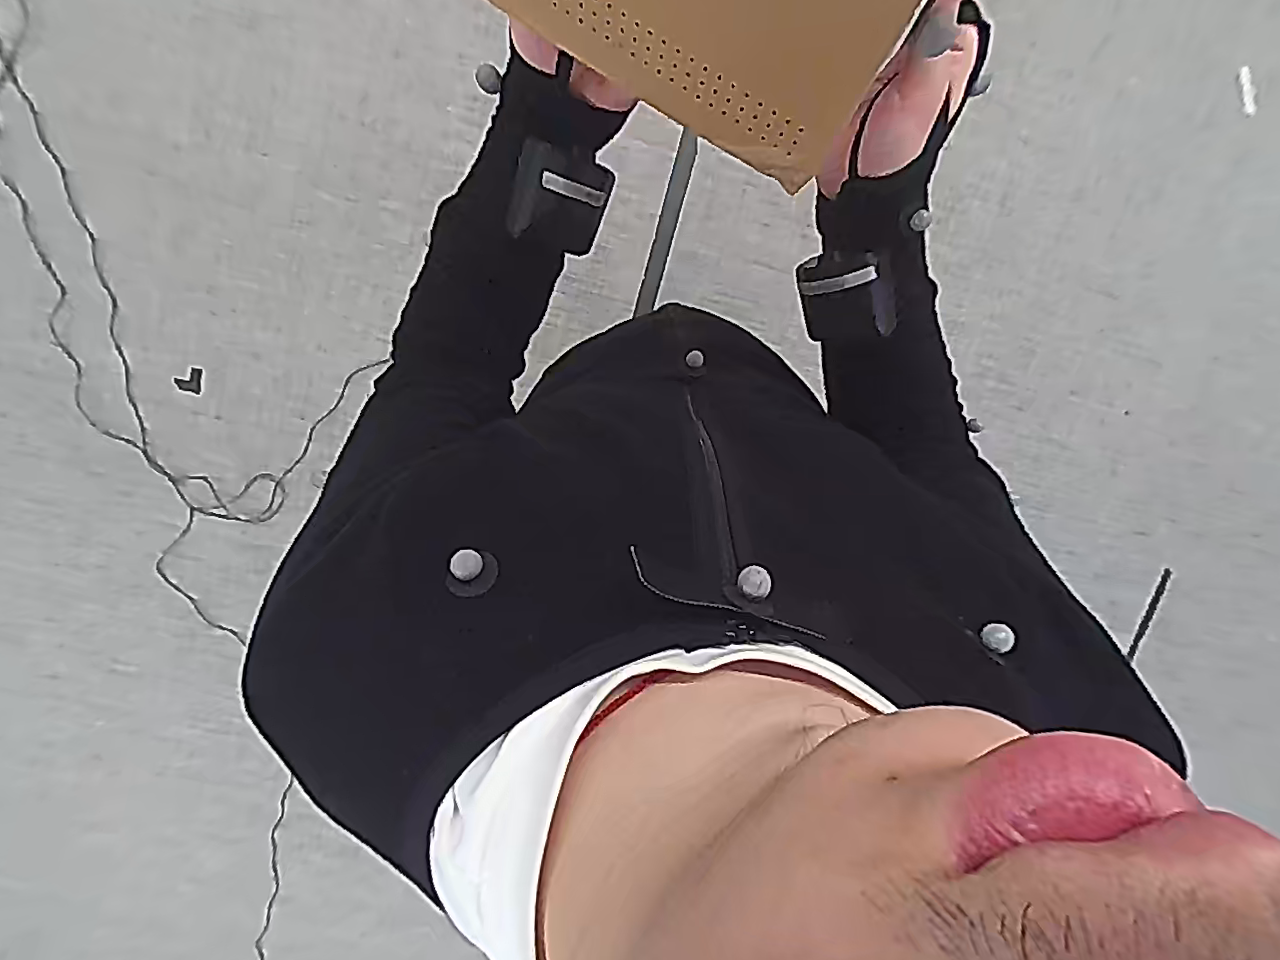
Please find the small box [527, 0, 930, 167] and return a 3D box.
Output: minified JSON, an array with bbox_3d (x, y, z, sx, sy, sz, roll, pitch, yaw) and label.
[{"bbox_3d":[0.055,-0.259,0.189,0.179,0.176,0.168,31,79,-2],"label":"small box"}]
